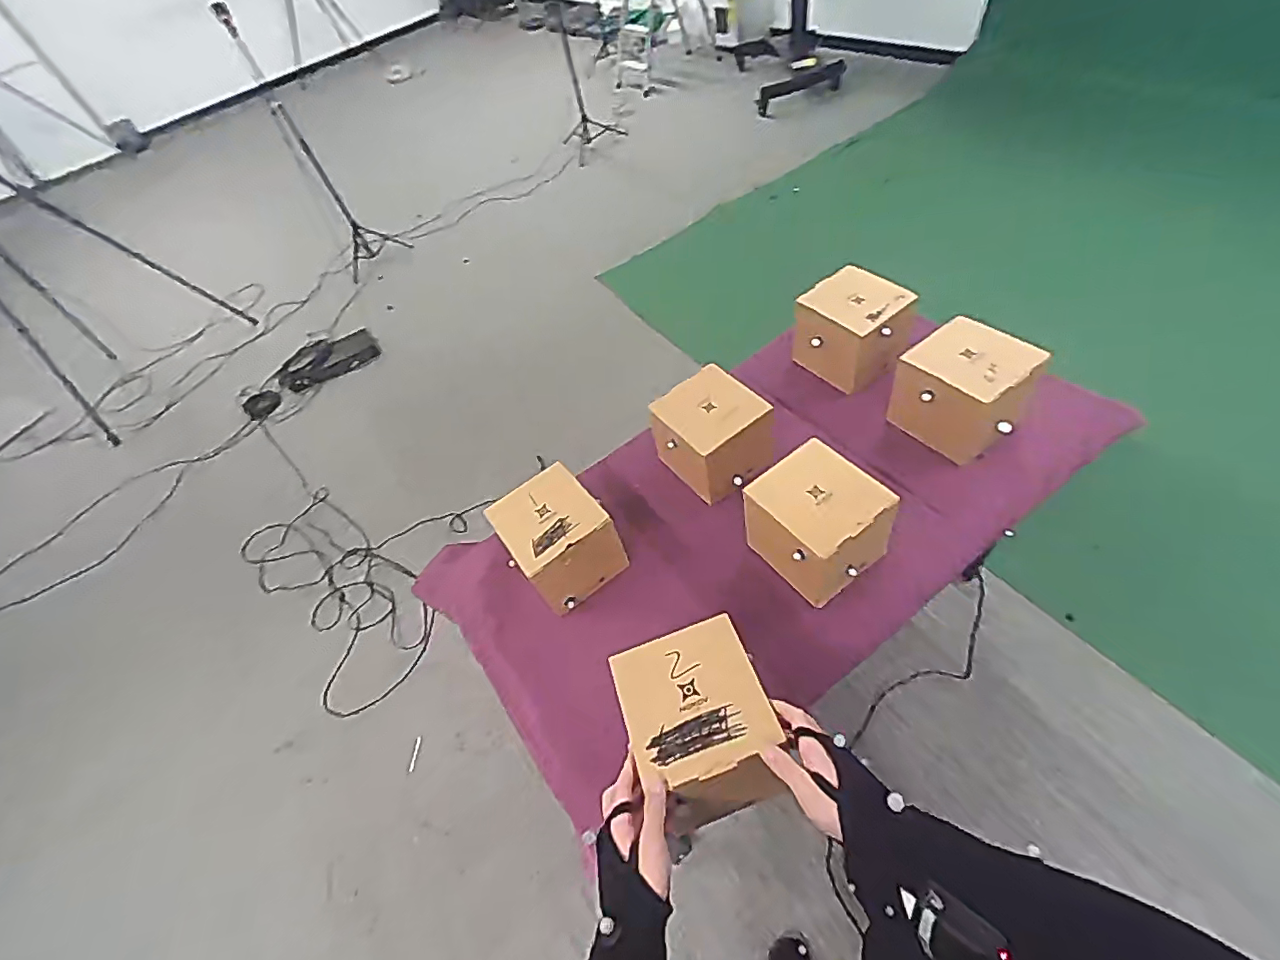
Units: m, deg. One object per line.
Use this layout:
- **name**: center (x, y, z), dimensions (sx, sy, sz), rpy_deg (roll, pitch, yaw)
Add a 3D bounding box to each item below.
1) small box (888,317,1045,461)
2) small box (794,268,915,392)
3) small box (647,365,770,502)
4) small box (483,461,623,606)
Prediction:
- **small box**: center (0.597, -0.168, 1.017), dimensions (0.168, 0.176, 0.179), rpy_deg (-34, 52, -12)
- **small box**: center (0.451, -0.322, 1.171), dimensions (0.168, 0.176, 0.179), rpy_deg (-35, 54, -13)
- **small box**: center (0.137, -0.090, 1.073), dimensions (0.168, 0.176, 0.179), rpy_deg (-35, 55, -13)
- **small box**: center (-0.151, 0.106, 0.989), dimensions (0.168, 0.176, 0.179), rpy_deg (-35, 53, -14)
